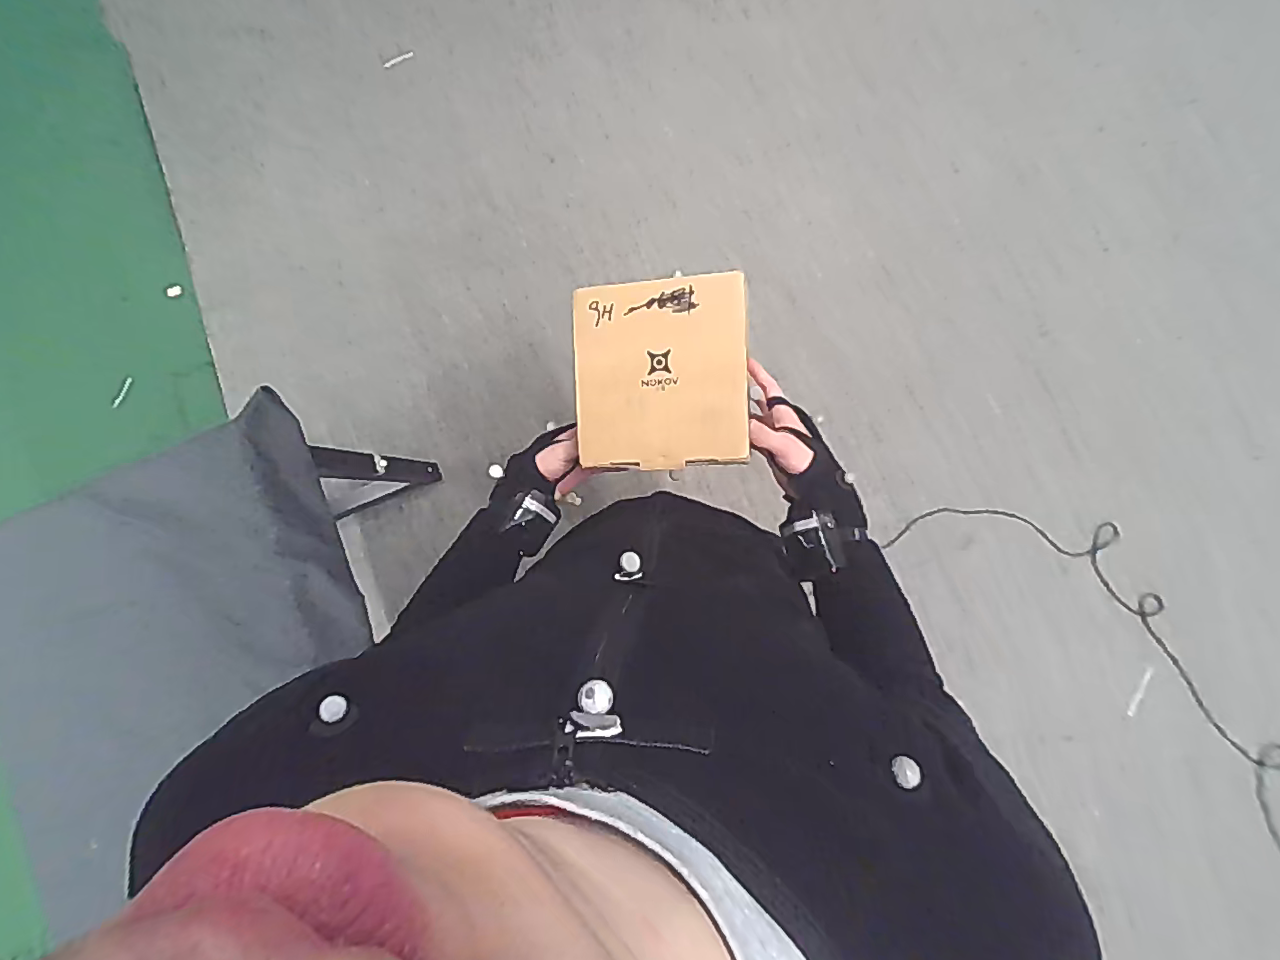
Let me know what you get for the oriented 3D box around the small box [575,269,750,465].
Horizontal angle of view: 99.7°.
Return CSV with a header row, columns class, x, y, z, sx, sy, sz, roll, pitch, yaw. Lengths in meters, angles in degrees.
class,x,y,z,sx,sy,sz,roll,pitch,yaw
small box,0.034,-0.107,0.584,0.168,0.176,0.179,-2,91,10
